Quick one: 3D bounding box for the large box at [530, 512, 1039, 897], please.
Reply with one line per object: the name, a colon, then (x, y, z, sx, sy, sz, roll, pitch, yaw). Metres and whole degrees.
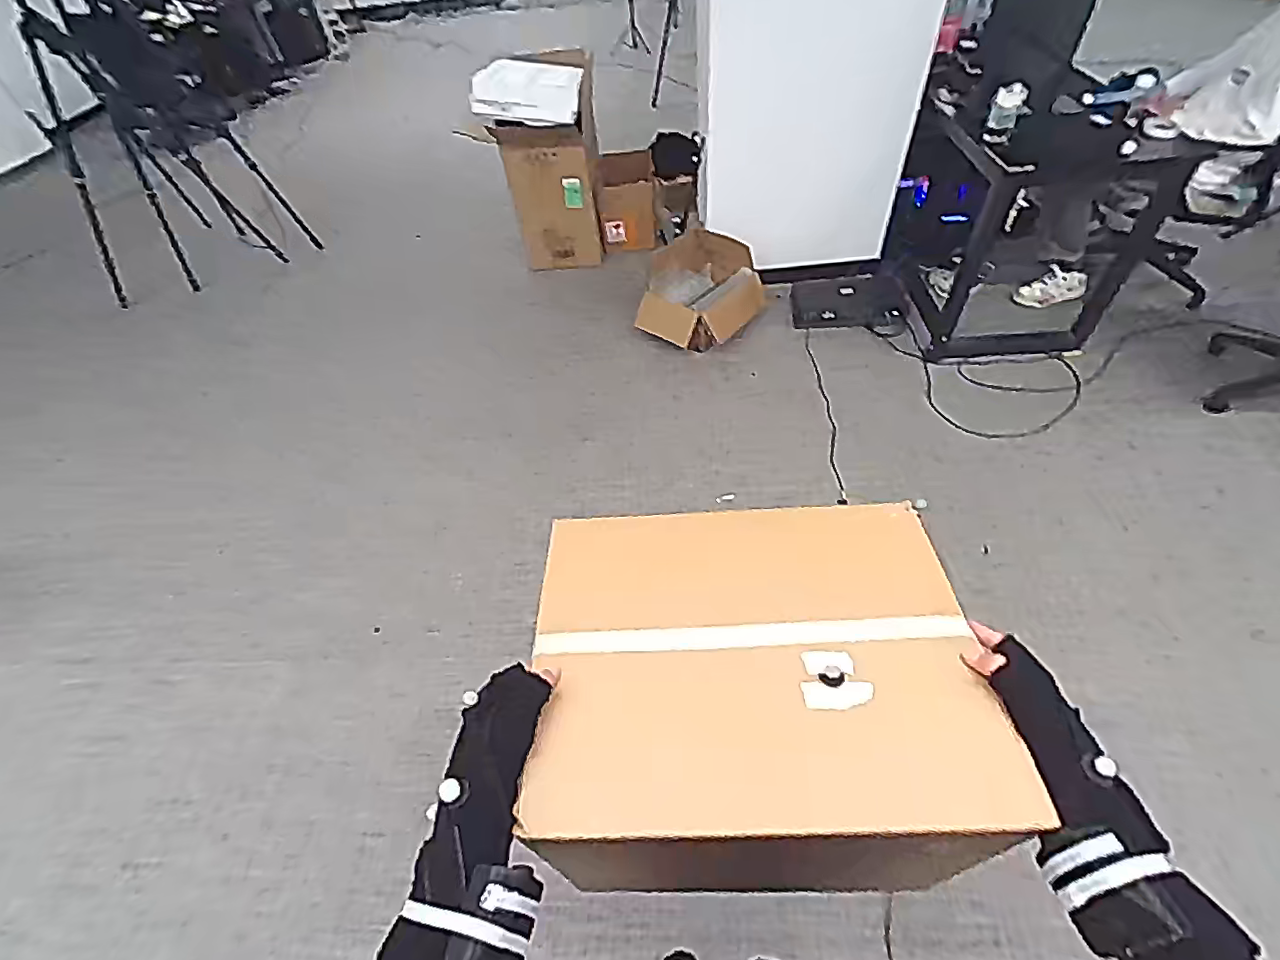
large box: (0.117, 0.262, 0.627, 0.408, 0.320, 0.320, -3, 46, 3)
